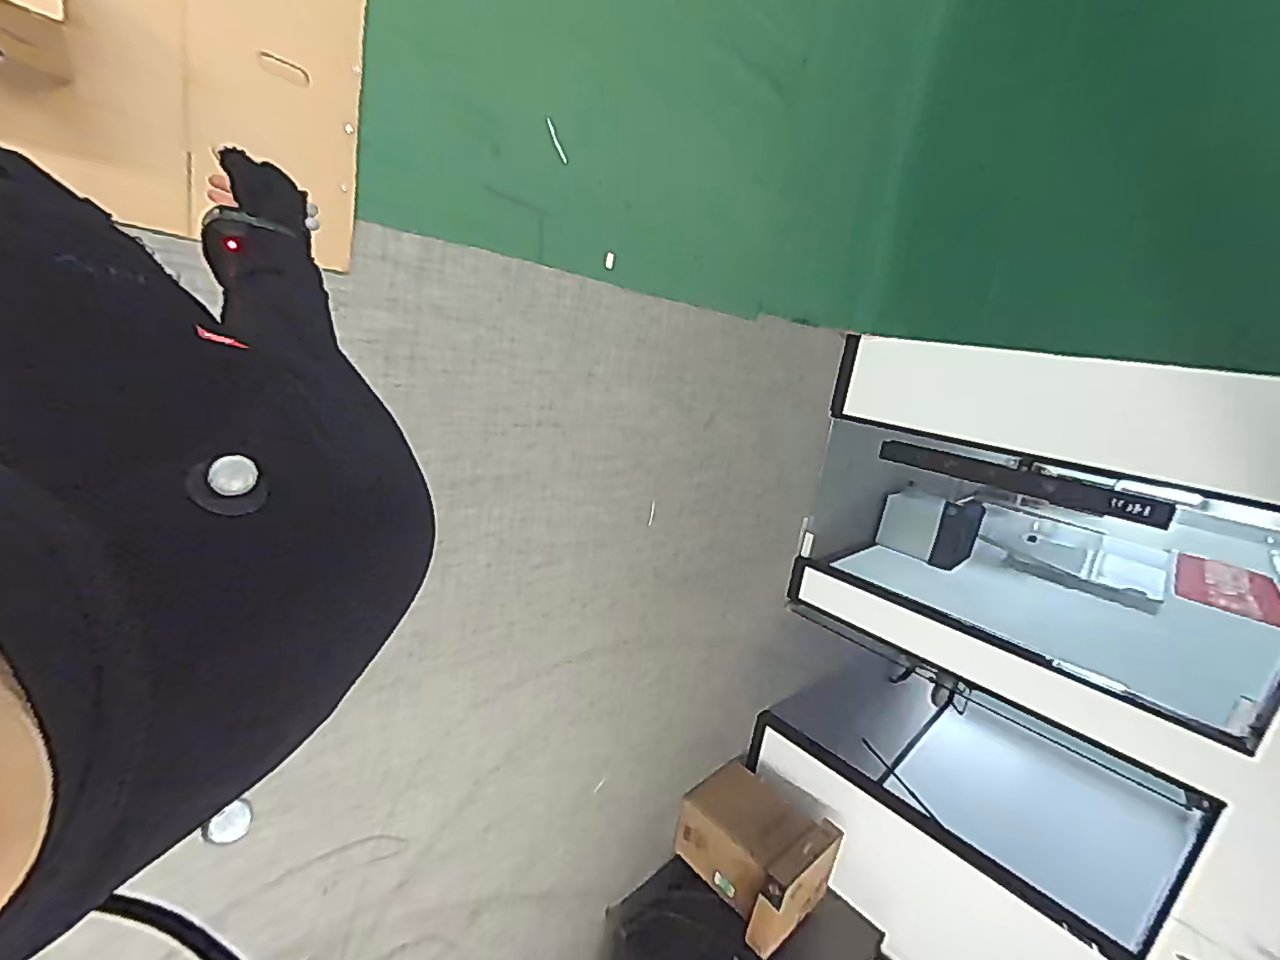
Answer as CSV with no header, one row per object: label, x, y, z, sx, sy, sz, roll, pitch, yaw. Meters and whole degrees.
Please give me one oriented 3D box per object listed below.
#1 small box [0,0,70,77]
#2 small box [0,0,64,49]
small box,-0.955,-0.734,0.785,0.168,0.176,0.179,-4,109,-44
small box,-0.843,-0.690,0.673,0.168,0.176,0.179,-2,106,-45
